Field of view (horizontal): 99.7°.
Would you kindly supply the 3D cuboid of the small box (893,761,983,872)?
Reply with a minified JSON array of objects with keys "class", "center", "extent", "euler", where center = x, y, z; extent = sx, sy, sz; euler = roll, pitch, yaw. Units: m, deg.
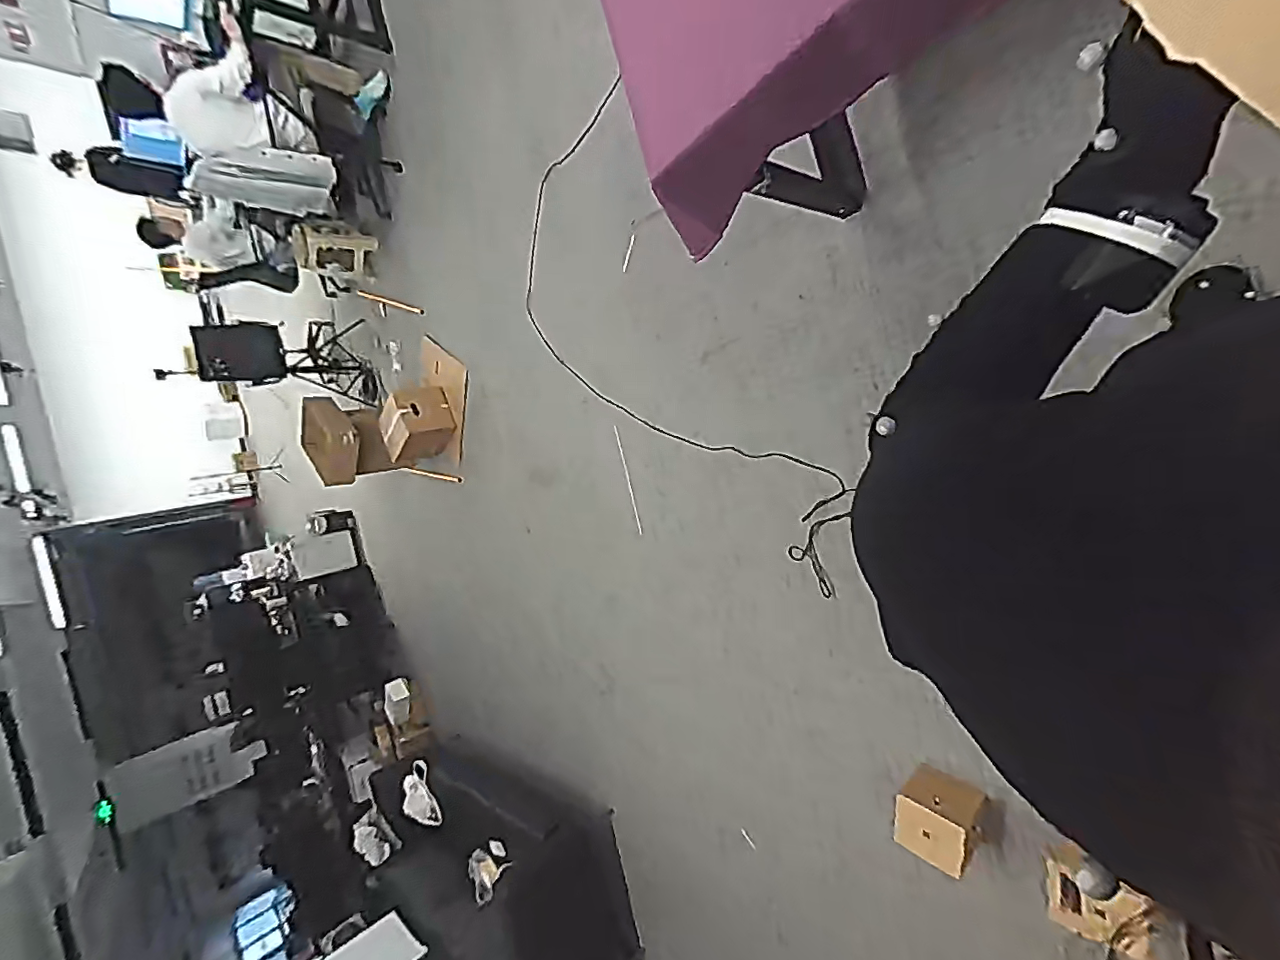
[{"class":"small box","center":[0.846,0.940,1.531],"extent":[0.179,0.176,0.168],"euler":[13,110,46]}]
